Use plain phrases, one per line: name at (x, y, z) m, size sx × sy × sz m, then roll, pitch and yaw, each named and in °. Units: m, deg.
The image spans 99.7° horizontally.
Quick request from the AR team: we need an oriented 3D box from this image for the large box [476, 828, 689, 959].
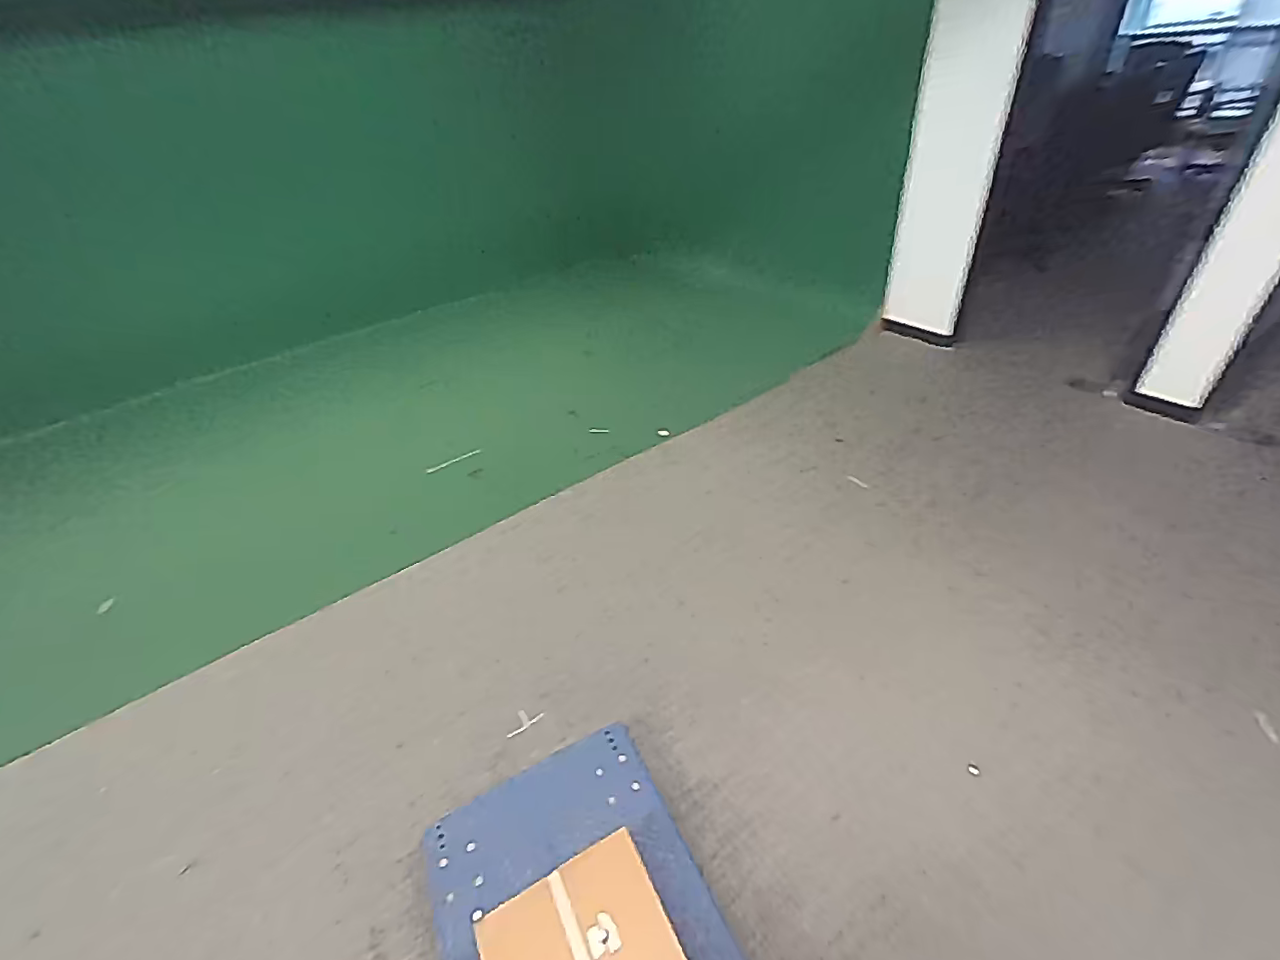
large box at (-0.054, 0.965, 0.984) m, size 0.320 × 0.320 × 0.408 m, roll -23°, pitch 40°, yaw -18°
